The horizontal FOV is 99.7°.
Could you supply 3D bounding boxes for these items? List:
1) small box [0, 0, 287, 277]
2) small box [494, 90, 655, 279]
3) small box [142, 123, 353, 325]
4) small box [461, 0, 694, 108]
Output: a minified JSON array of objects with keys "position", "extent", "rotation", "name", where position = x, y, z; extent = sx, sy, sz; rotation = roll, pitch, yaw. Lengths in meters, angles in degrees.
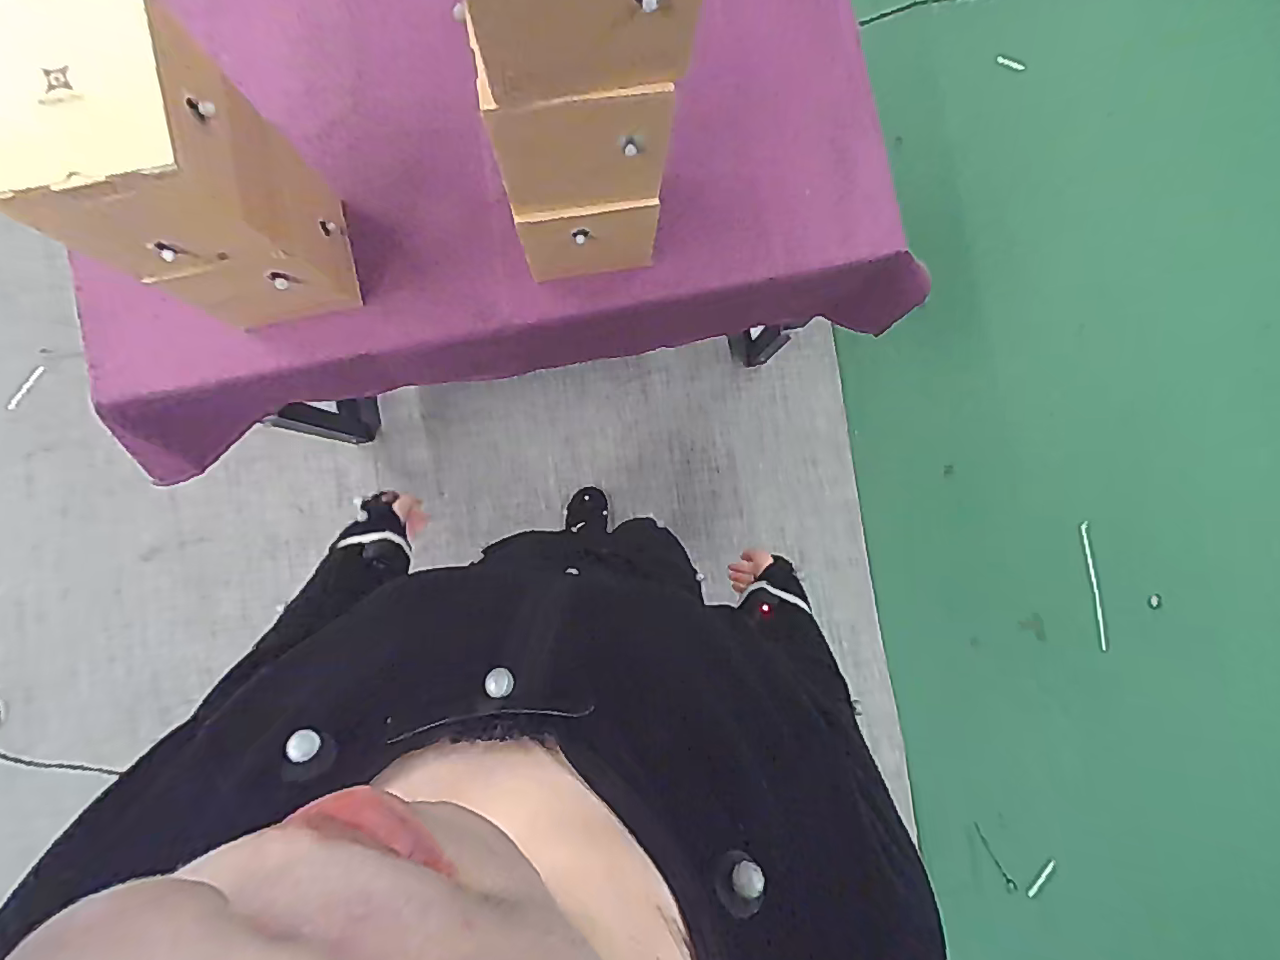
[{"position":[-0.493,-0.330,0.539],"extent":[0.168,0.176,0.179],"rotation":[-12,89,-4],"name":"small box"},{"position":[-0.082,-0.388,0.728],"extent":[0.179,0.176,0.168],"rotation":[-9,88,-4],"name":"small box"},{"position":[-0.499,-0.318,0.701],"extent":[0.179,0.176,0.168],"rotation":[-12,87,-4],"name":"small box"},{"position":[-0.054,-0.422,0.403],"extent":[0.179,0.176,0.168],"rotation":[-11,88,-4],"name":"small box"}]
